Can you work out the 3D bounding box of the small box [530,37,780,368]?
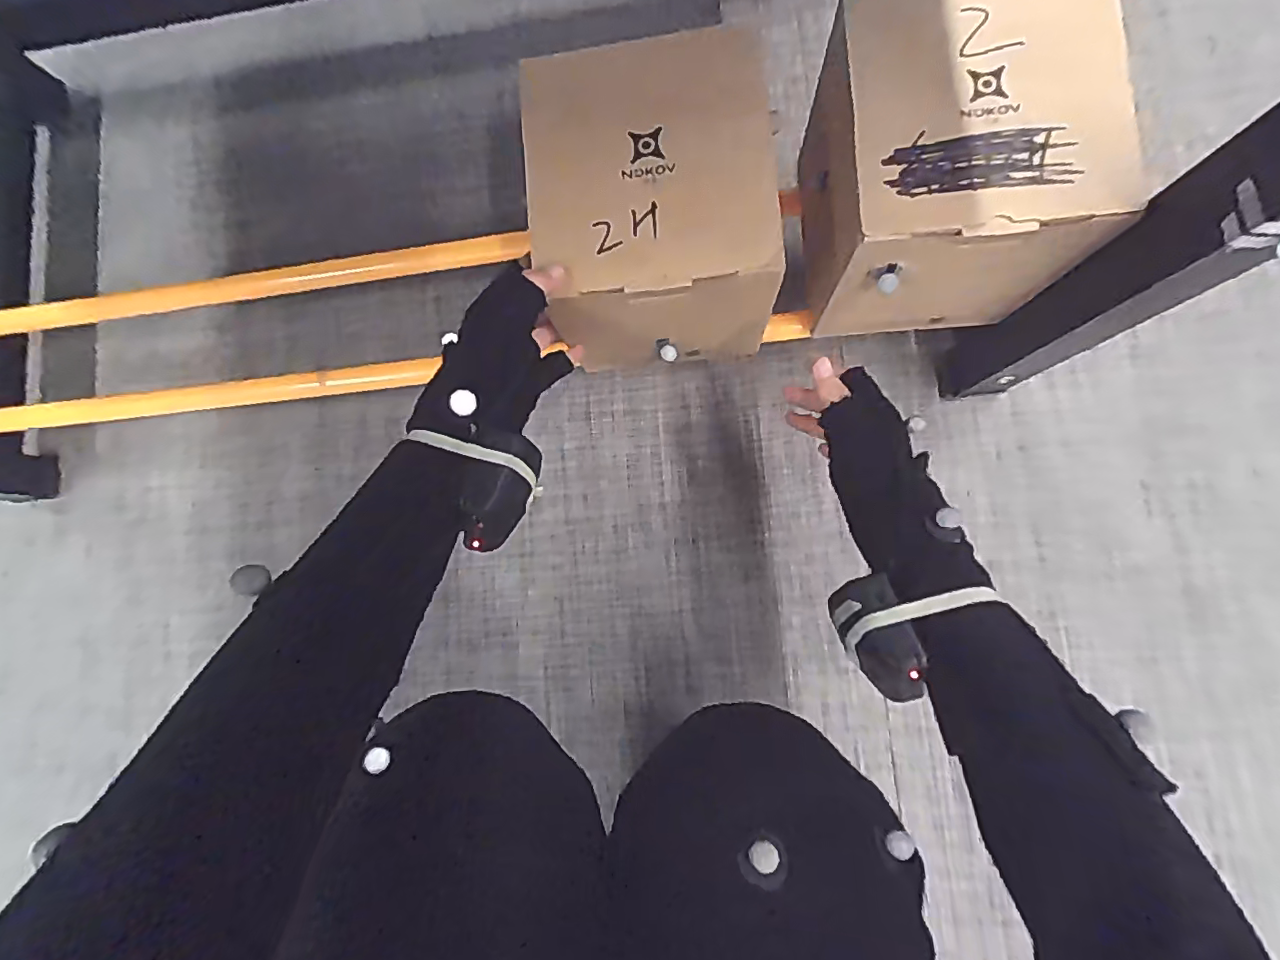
[{"bbox_3d":[0.013,-0.208,0.450,0.168,0.176,0.179,-5,85,5],"label":"small box"}]
